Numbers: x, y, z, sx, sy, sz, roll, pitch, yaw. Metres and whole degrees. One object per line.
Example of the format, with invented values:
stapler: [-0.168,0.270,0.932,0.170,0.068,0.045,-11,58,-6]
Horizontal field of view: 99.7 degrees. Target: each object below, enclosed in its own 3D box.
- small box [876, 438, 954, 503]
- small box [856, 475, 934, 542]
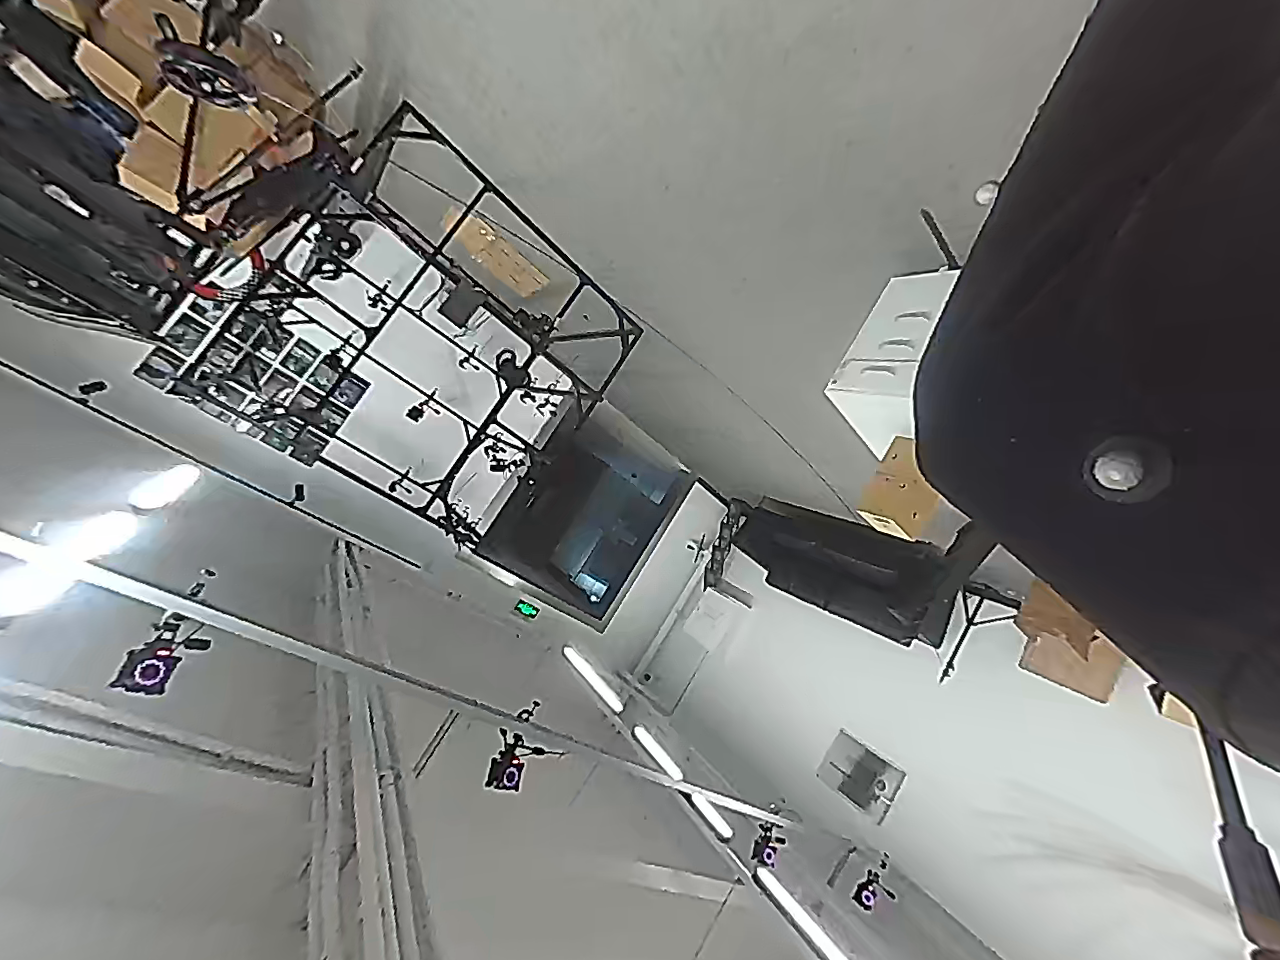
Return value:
small box: [1.029,-0.040,2.018,0.168,0.176,0.179,37,172,-34]
small box: [0.946,0.101,2.001,0.179,0.176,0.168,35,174,-30]
